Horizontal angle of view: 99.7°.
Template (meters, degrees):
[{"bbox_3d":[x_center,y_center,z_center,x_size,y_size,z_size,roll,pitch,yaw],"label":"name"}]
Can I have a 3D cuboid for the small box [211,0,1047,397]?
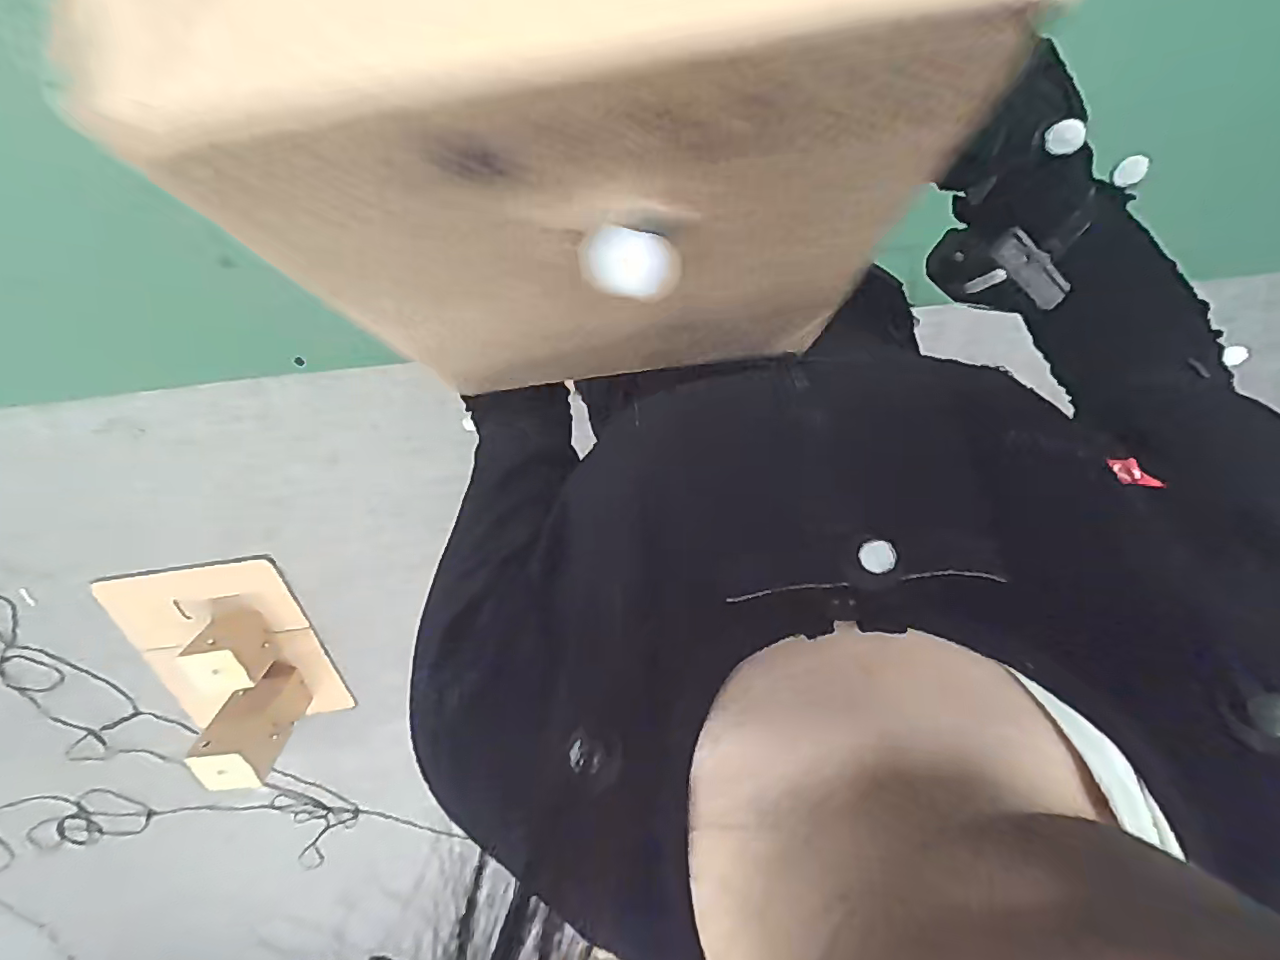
[{"bbox_3d":[-0.011,-0.145,0.182,0.168,0.176,0.179,-12,86,1],"label":"small box"}]

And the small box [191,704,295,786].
[{"bbox_3d":[-1.256,0.843,1.725,0.179,0.176,0.168,-6,119,1],"label":"small box"}]

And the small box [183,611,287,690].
[{"bbox_3d":[-1.306,0.551,1.757,0.179,0.176,0.168,-10,117,3],"label":"small box"}]
